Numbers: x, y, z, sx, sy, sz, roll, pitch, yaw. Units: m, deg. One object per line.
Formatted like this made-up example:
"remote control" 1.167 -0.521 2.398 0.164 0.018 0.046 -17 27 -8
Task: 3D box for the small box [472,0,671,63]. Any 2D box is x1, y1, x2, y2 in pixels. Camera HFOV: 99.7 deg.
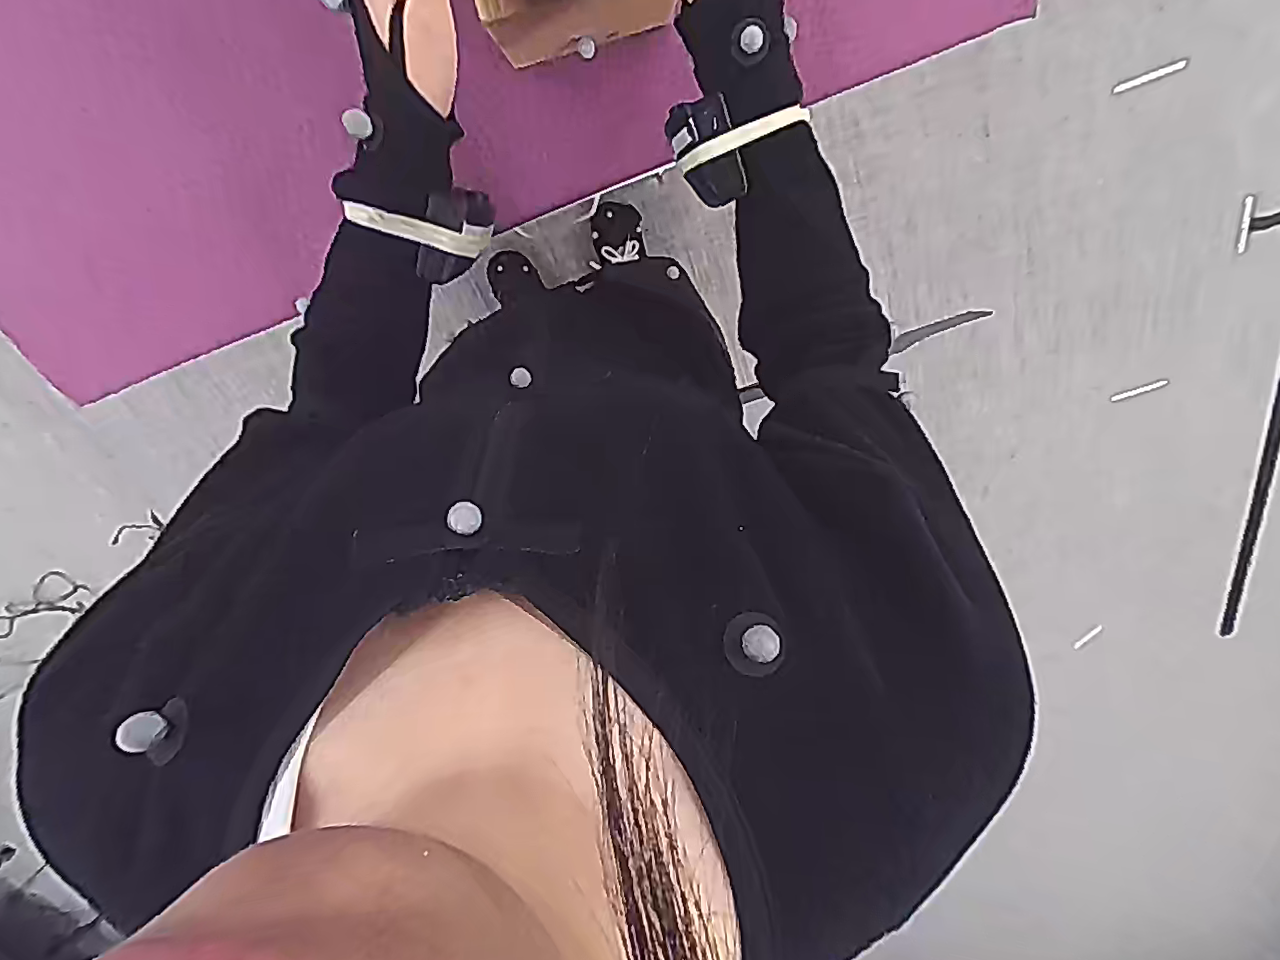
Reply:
"small box" -0.068 -0.478 0.438 0.168 0.176 0.179 -13 119 4
